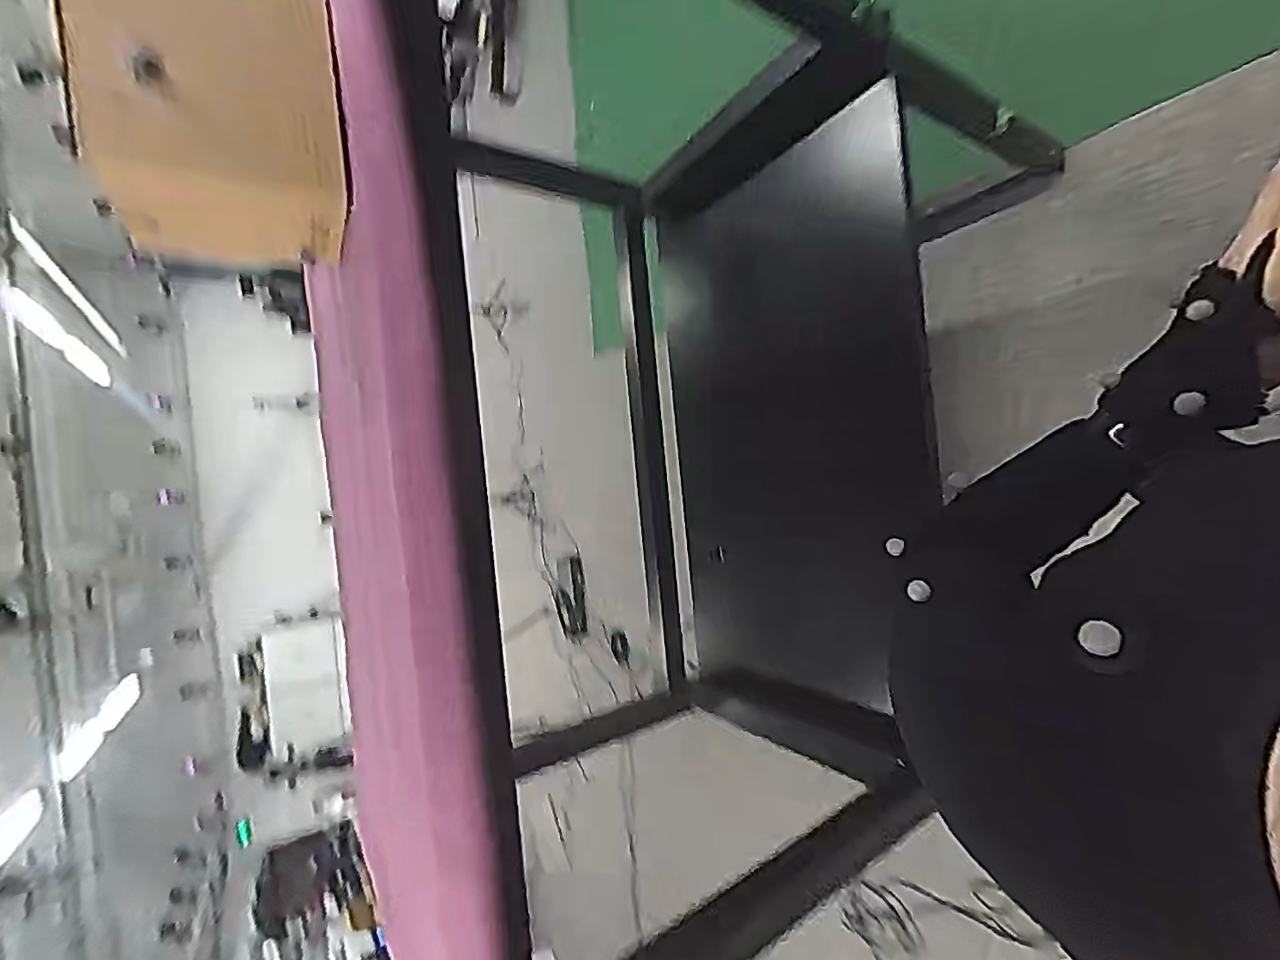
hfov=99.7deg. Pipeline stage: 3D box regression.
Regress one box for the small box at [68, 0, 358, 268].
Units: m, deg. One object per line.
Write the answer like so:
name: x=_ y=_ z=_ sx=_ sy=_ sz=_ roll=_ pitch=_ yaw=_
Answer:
small box: x=-0.358 y=-0.304 z=0.485 sx=0.168 sy=0.176 sz=0.179 roll=-4 pitch=93 yaw=59
